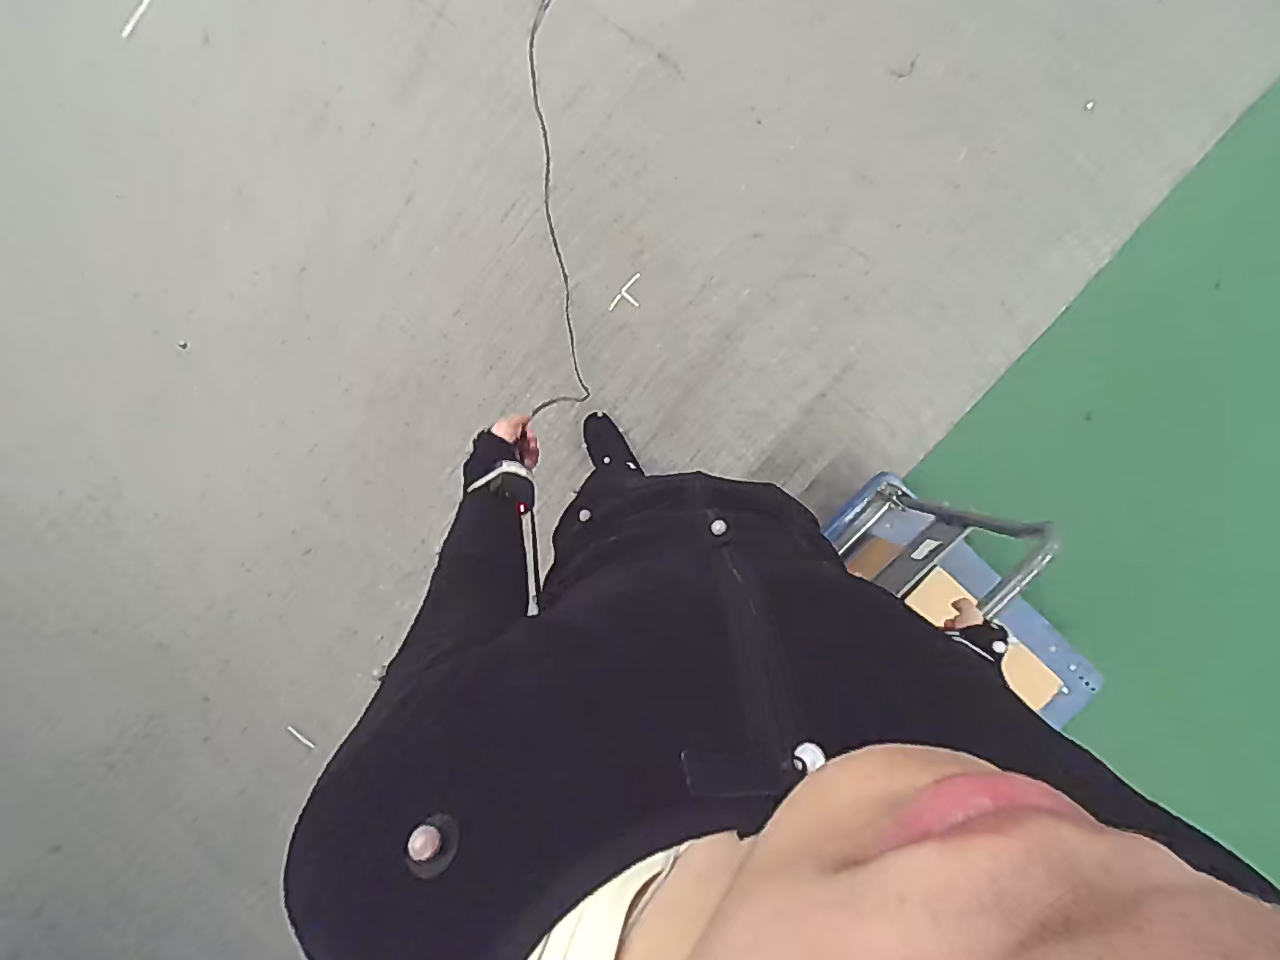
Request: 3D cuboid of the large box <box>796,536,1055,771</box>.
[{"bbox_3d":[0.672,0.400,1.339,0.408,0.320,0.320,42,95,-5],"label":"large box"}]
